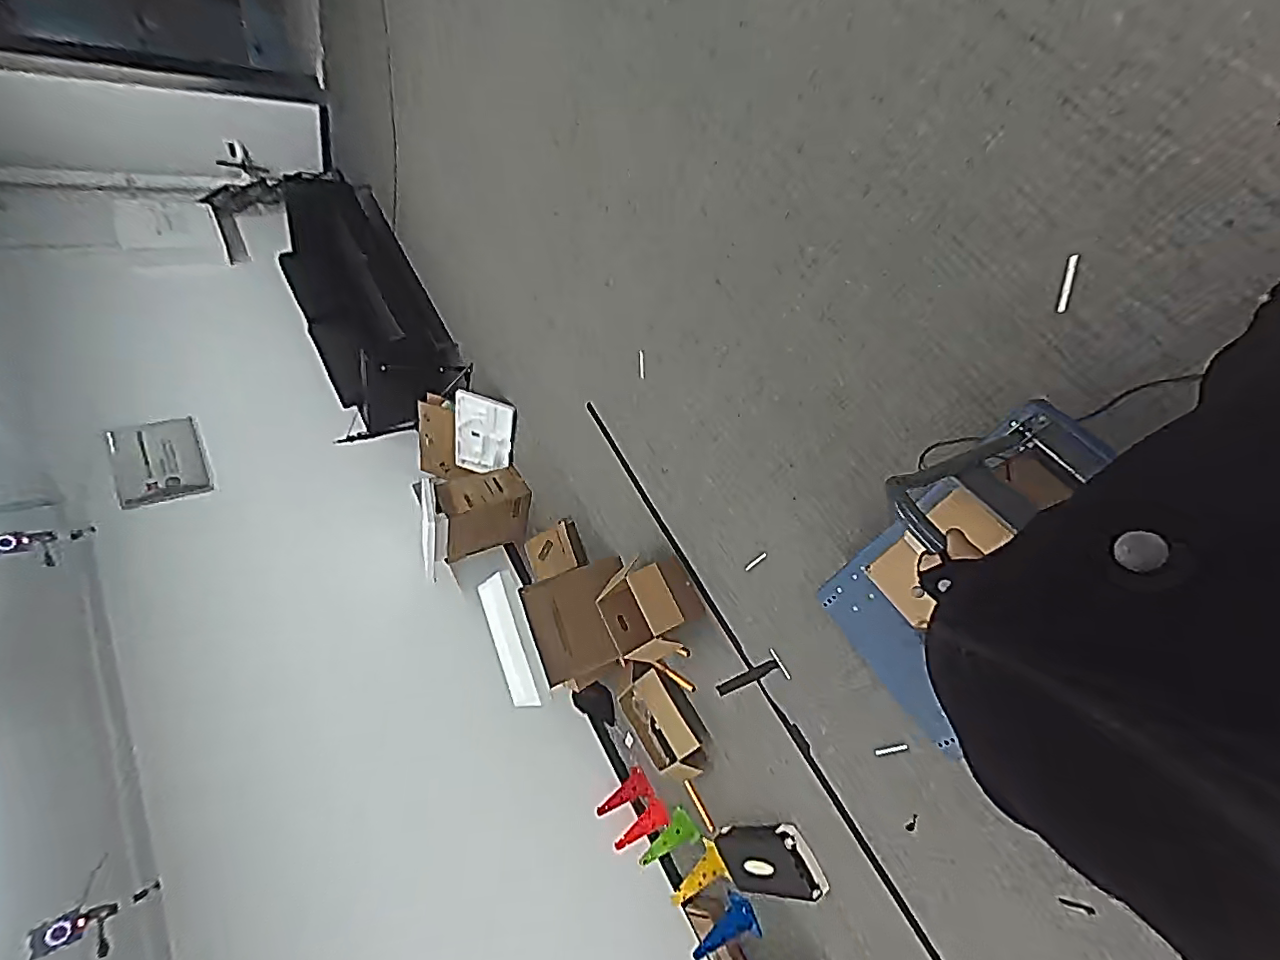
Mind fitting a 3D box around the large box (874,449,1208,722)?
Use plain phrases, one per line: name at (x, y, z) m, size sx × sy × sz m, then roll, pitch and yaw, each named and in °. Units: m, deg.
large box at (0.797, 0.201, 1.116) m, size 0.408 × 0.320 × 0.320 m, roll 54°, pitch 141°, yaw 27°
